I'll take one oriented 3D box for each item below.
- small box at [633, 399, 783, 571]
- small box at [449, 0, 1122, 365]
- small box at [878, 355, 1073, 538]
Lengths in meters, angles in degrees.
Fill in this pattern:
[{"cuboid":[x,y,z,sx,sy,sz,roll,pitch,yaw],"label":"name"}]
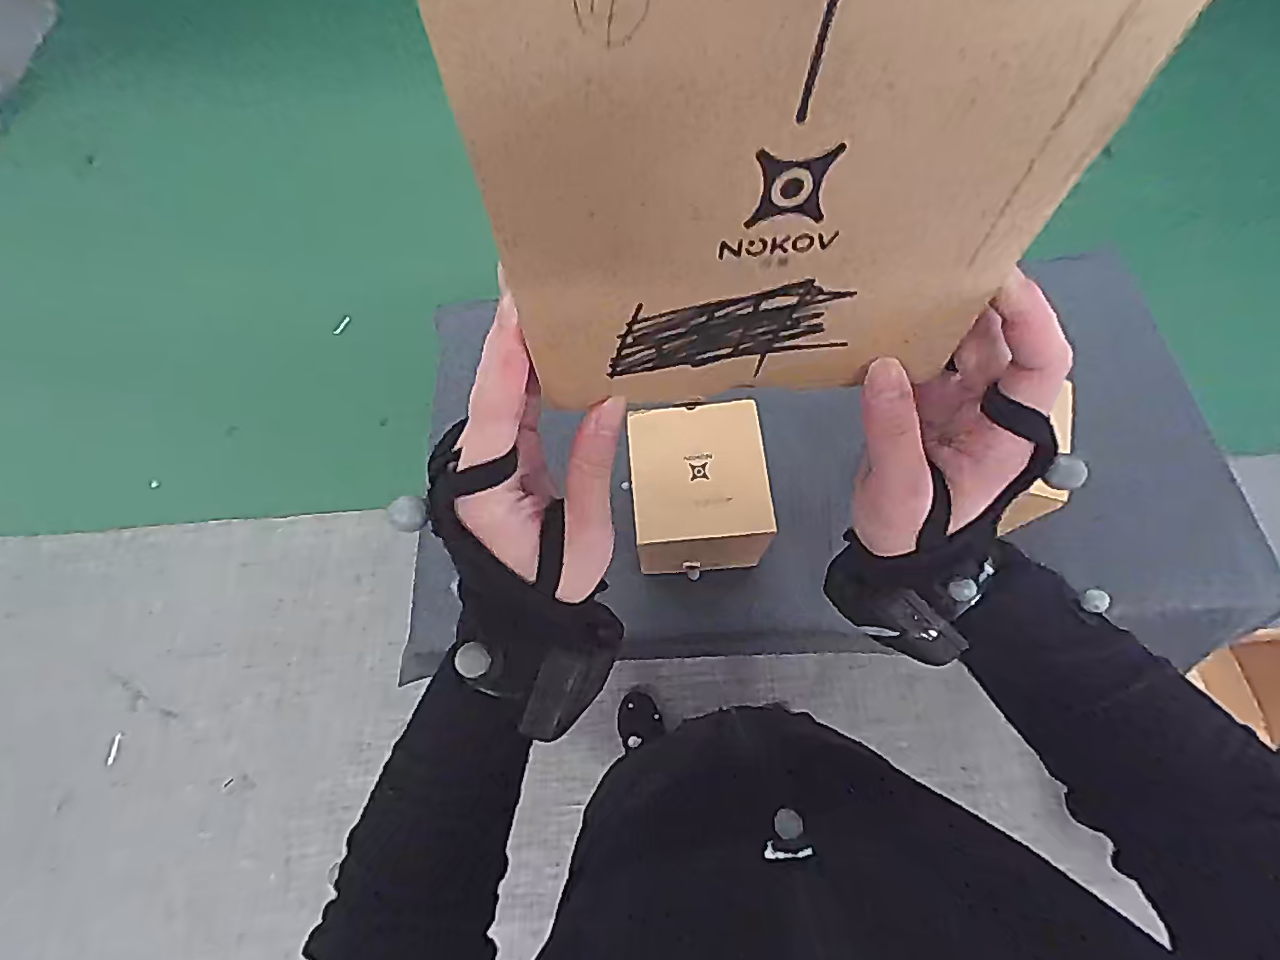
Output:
[{"cuboid":[0.080,0.013,0.724,0.168,0.176,0.179,-6,68,1],"label":"small box"},{"cuboid":[0.032,-0.168,0.204,0.168,0.179,0.176,-5,63,-1],"label":"small box"},{"cuboid":[0.447,-0.037,0.744,0.168,0.176,0.179,17,70,9],"label":"small box"}]
